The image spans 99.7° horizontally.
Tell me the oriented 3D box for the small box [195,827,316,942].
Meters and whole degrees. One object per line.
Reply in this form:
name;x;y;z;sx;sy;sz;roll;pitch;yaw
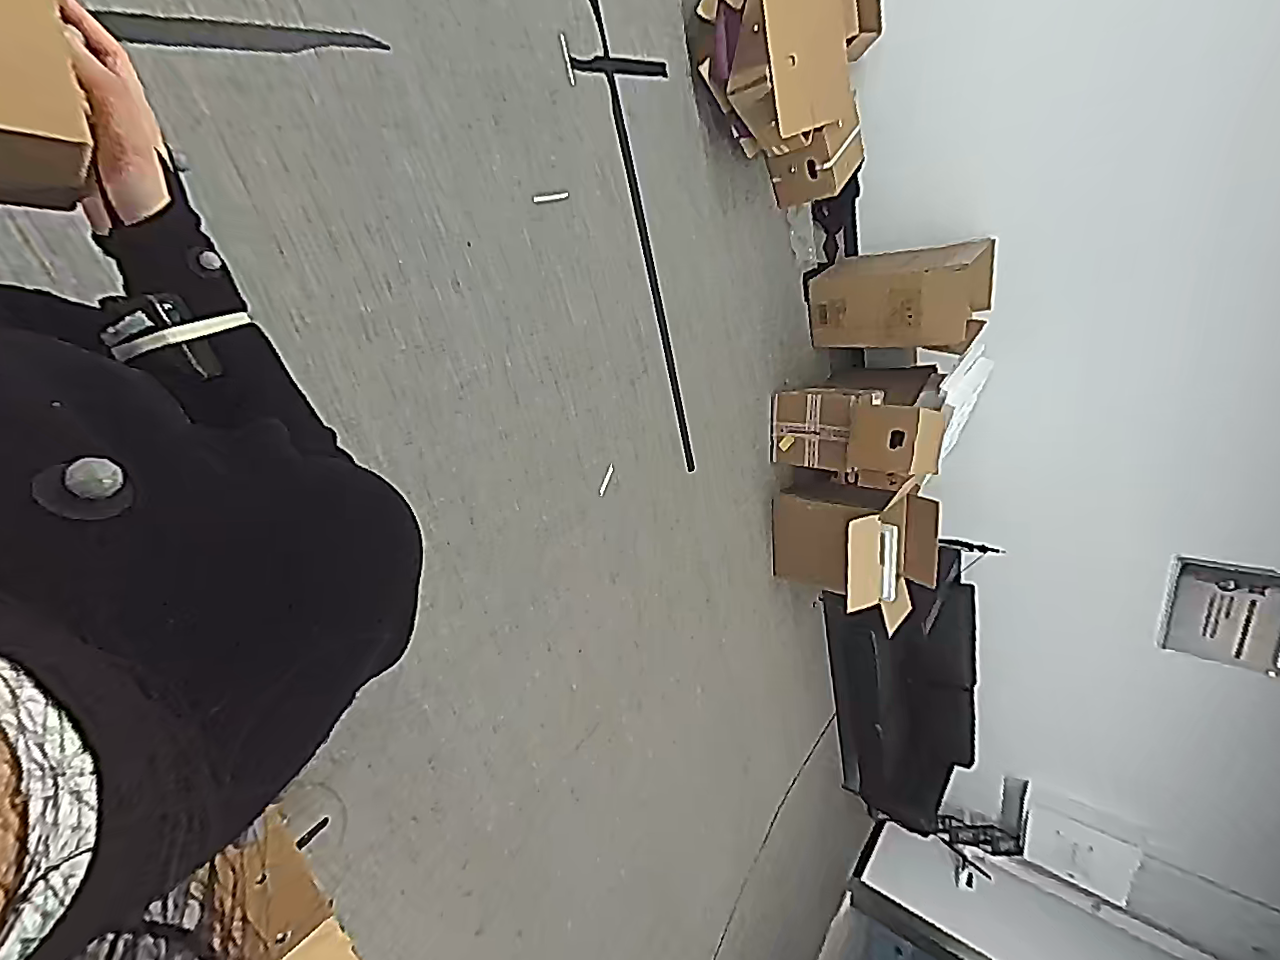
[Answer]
small box;-0.825;0.914;1.180;0.179;0.176;0.168;-27;115;-44

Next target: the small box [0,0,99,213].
small box;-0.406;-0.252;0.264;0.168;0.176;0.179;-17;110;-46

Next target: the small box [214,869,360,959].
small box;-0.702;0.938;1.077;0.179;0.176;0.168;-30;117;-42

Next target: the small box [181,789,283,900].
small box;-0.950;0.889;1.284;0.179;0.176;0.168;-30;118;-42
